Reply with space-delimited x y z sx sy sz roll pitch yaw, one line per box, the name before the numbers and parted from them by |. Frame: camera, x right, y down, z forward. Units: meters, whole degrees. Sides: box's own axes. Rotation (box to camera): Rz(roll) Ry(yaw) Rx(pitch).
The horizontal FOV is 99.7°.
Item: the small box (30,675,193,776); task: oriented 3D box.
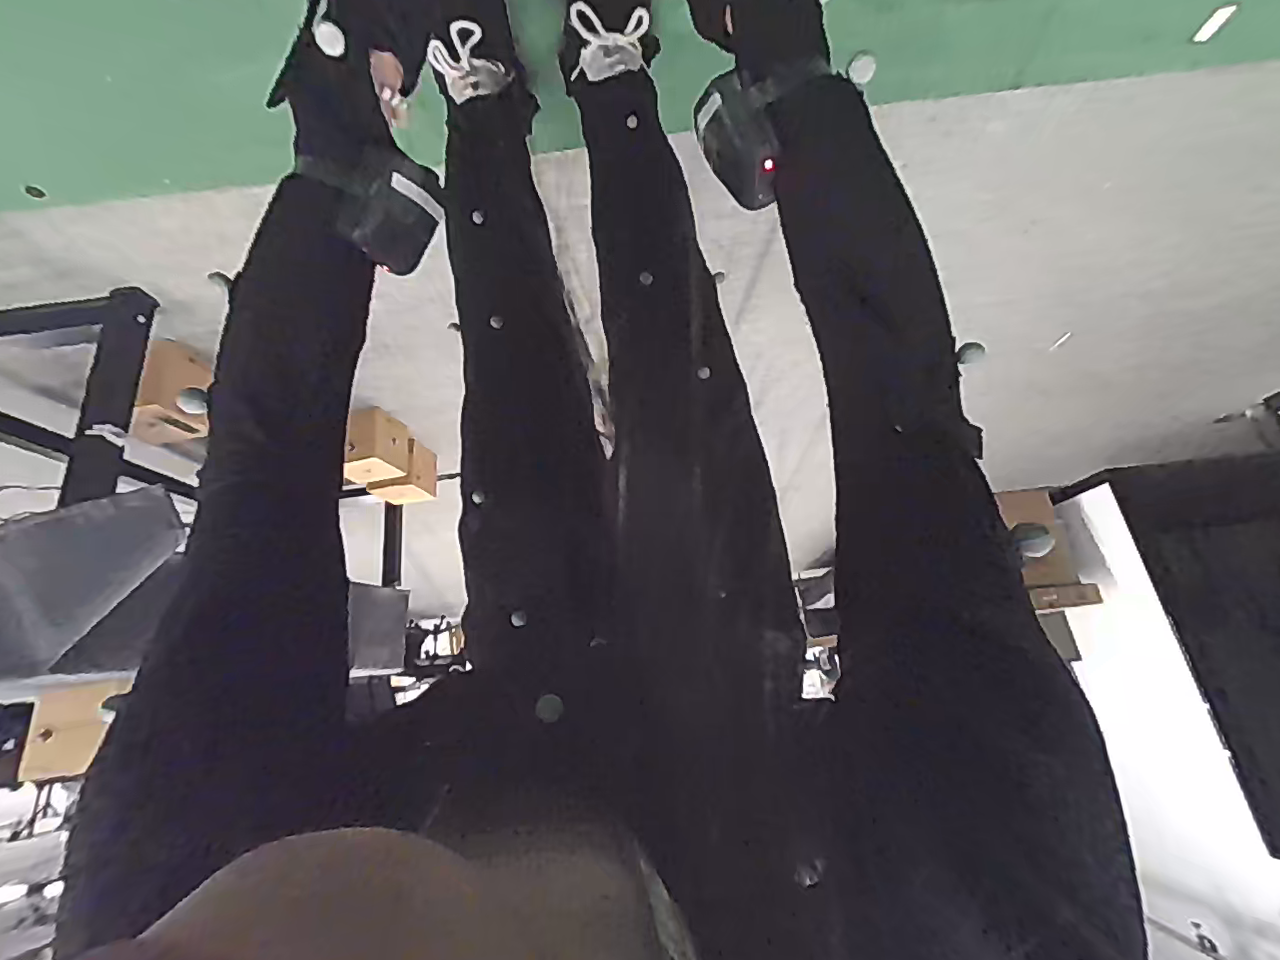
small box | -1.092 0.507 1.136 0.179 0.176 0.168 -8 162 3
